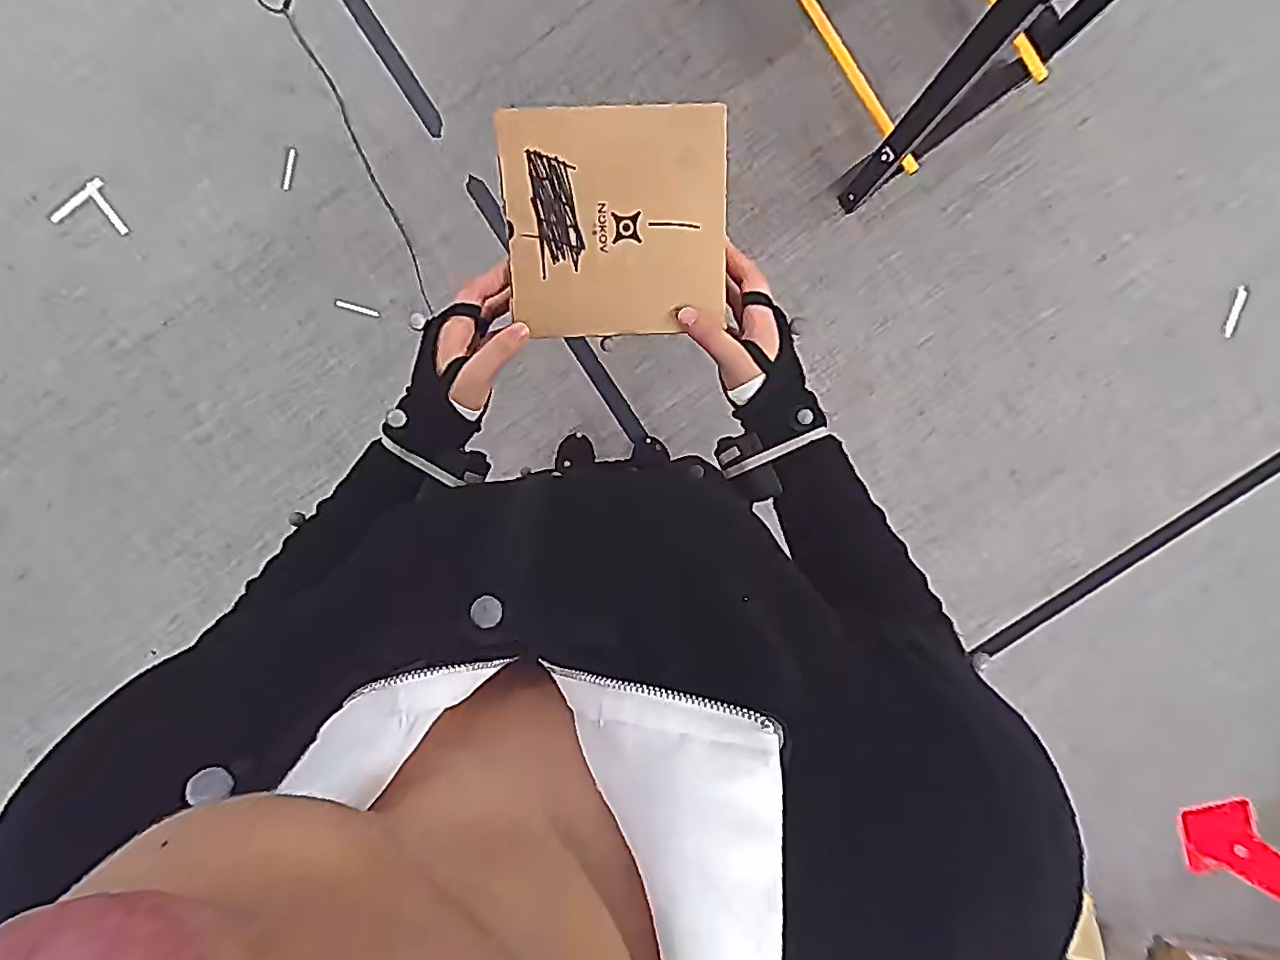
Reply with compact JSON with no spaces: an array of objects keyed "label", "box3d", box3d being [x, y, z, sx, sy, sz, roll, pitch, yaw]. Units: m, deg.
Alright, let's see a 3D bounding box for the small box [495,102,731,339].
[{"label":"small box","box3d":[-0.020,-0.216,0.492,0.179,0.176,0.168,-3,105,-2]}]
